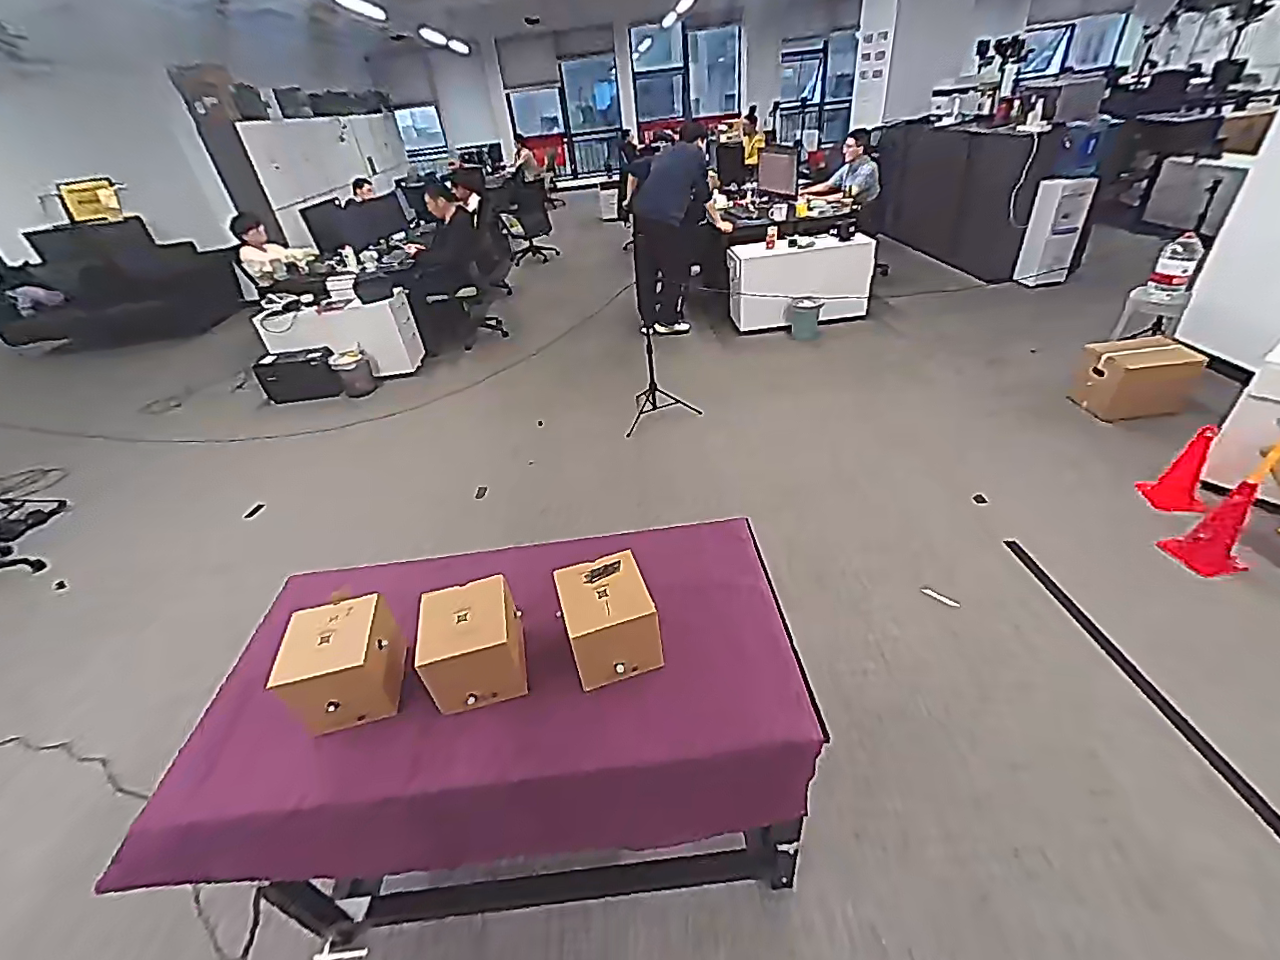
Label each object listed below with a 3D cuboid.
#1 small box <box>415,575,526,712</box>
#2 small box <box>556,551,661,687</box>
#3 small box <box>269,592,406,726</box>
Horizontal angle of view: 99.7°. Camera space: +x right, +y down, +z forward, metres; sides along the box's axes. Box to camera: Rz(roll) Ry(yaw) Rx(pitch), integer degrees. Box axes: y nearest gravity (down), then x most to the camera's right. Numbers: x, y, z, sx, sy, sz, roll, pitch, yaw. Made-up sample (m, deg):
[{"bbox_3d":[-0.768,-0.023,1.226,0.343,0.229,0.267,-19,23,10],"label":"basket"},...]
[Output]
[{"bbox_3d":[-0.326,0.321,1.068,0.168,0.176,0.179,-13,36,-7],"label":"small box"},{"bbox_3d":[-0.063,0.277,1.084,0.168,0.176,0.179,-15,37,-10],"label":"small box"},{"bbox_3d":[-0.577,0.355,1.060,0.168,0.176,0.179,-11,36,-7],"label":"small box"}]
